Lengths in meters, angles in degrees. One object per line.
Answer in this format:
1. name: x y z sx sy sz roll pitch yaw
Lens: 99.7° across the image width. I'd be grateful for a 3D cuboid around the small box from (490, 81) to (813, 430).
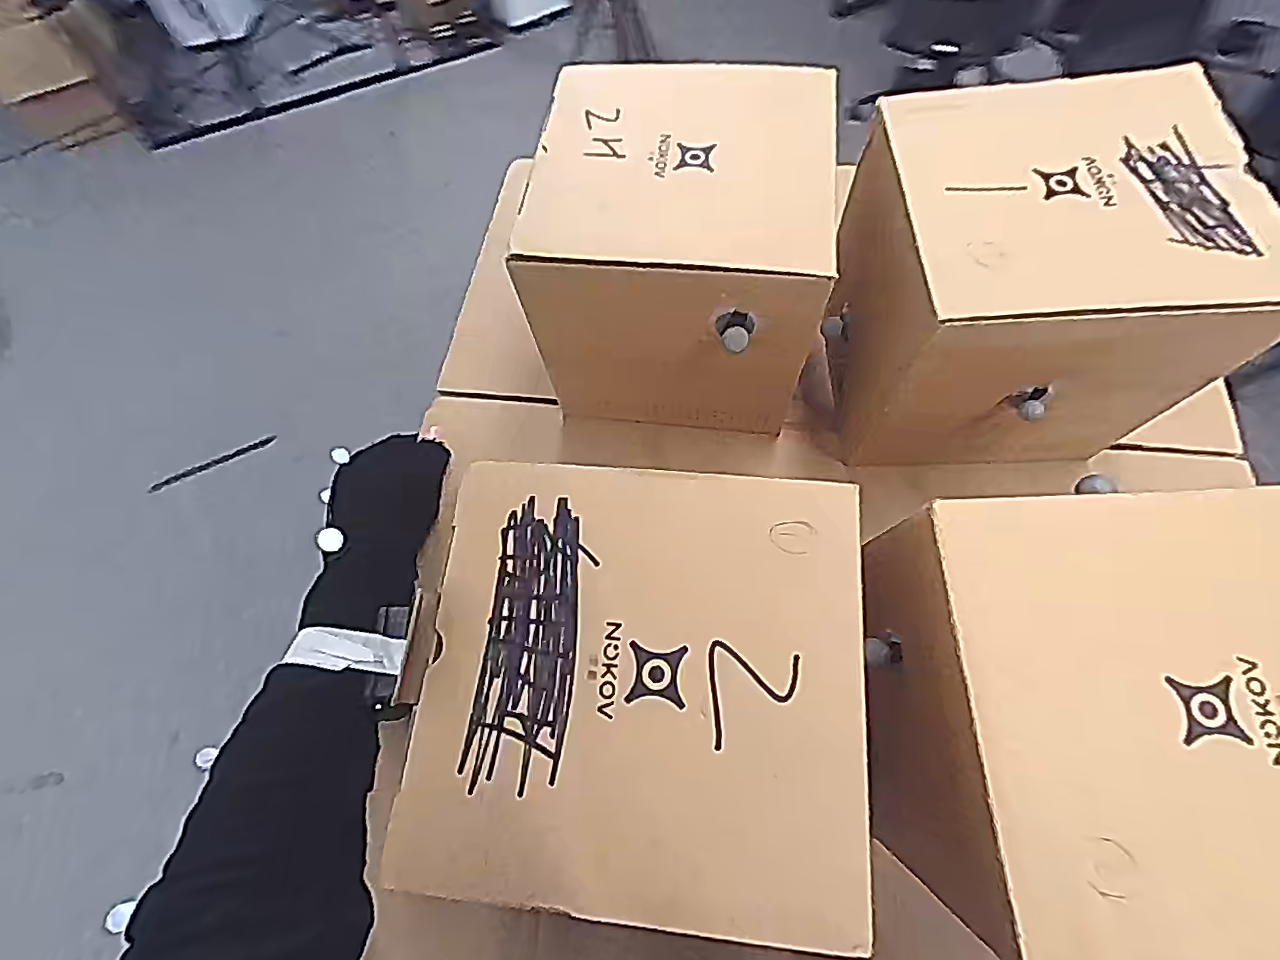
1. small box: 0.018 -0.149 0.393 0.179 0.176 0.168 5 66 7
